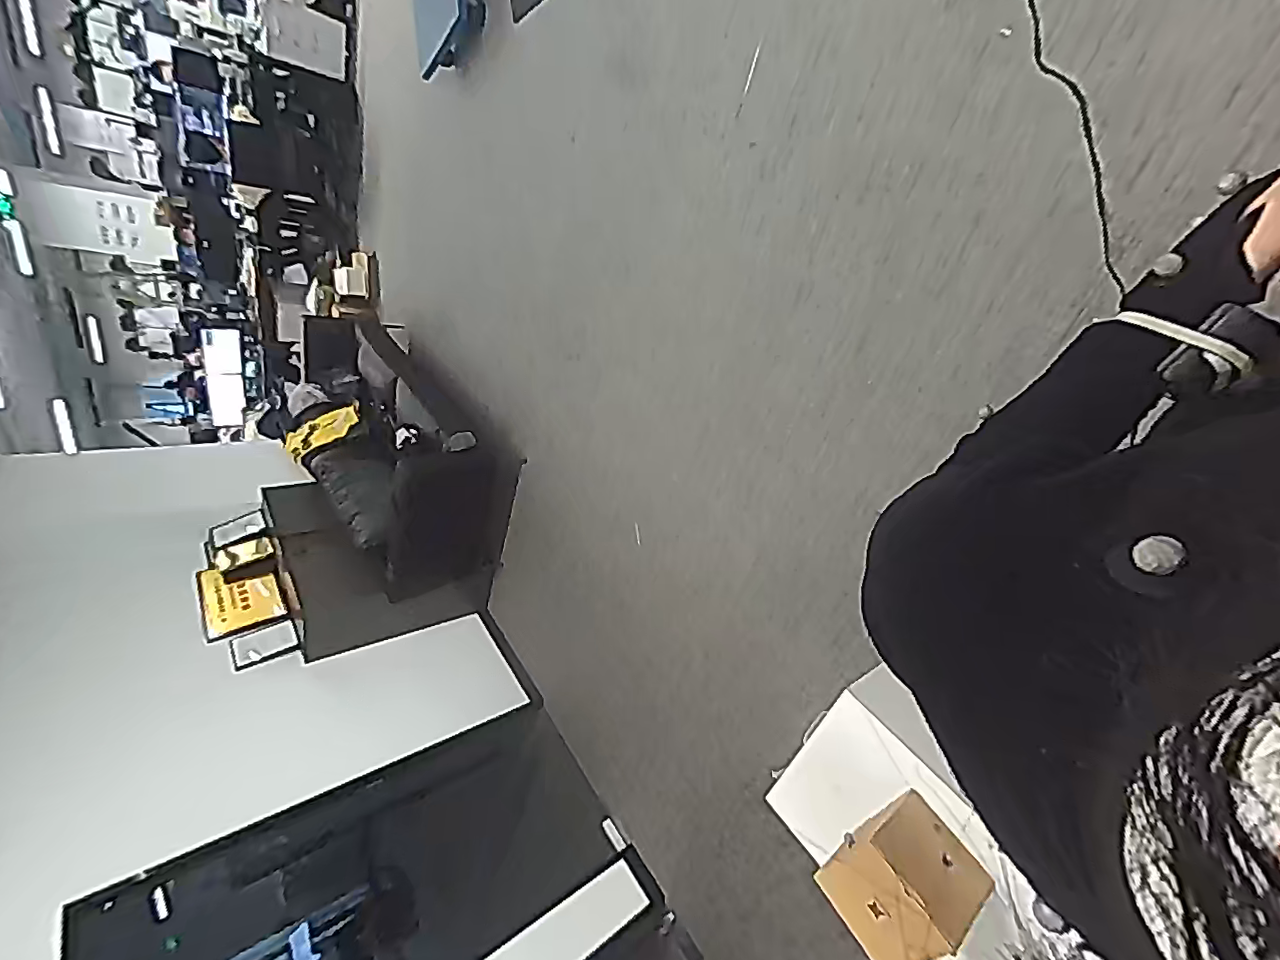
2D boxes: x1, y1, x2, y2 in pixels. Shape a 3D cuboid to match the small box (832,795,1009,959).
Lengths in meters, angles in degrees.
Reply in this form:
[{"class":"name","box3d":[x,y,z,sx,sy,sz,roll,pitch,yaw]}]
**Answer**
[{"class":"small box","box3d":[0.468,0.674,0.904,0.168,0.176,0.179,49,131,33]}]
